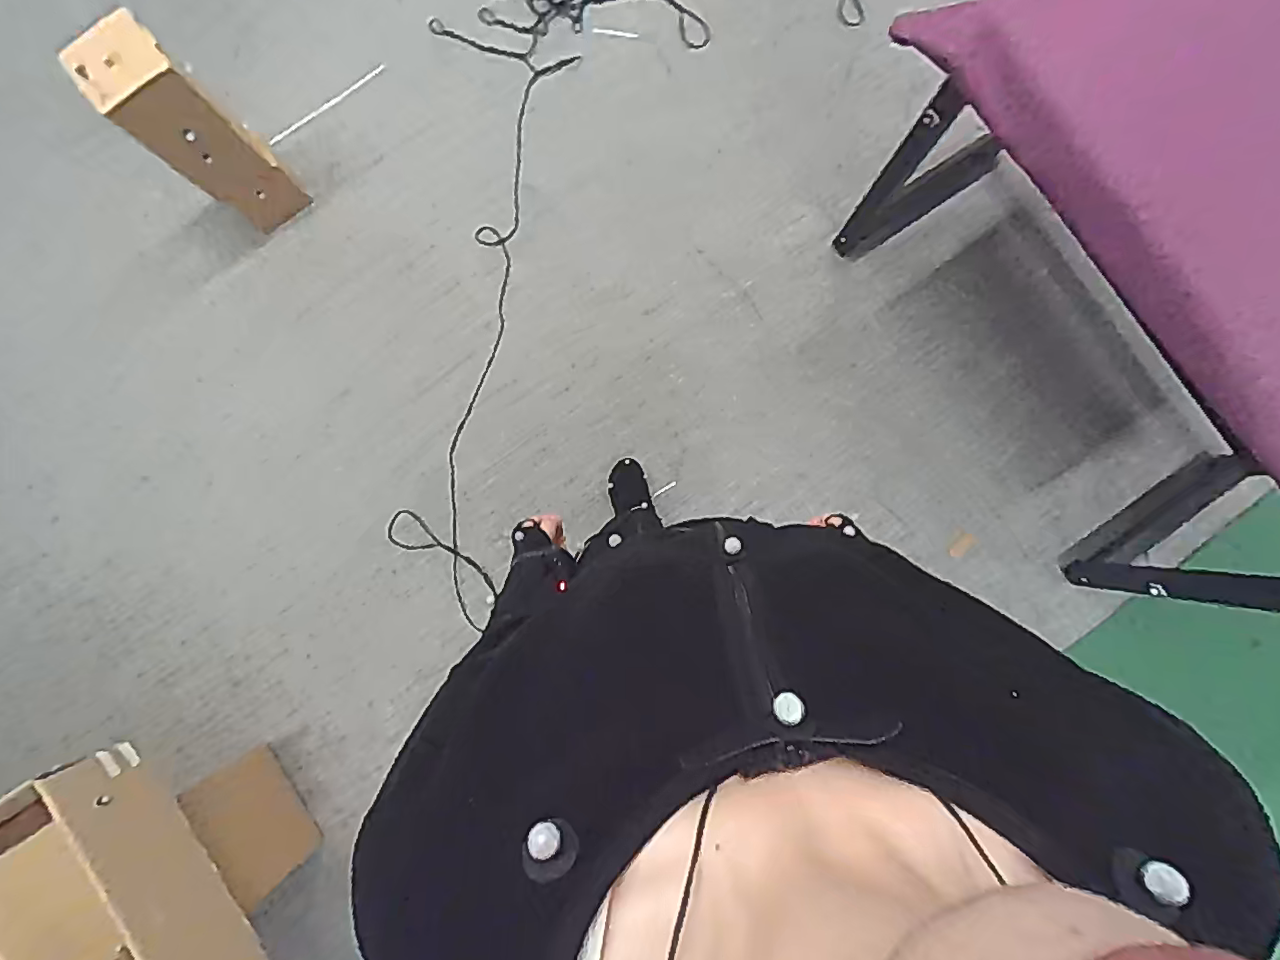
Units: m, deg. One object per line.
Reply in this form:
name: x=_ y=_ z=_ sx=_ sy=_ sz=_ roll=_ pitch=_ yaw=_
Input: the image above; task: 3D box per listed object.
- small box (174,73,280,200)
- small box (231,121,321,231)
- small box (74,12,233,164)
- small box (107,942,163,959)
small box: x=-1.065 y=-0.851 z=1.359 sx=0.179 sy=0.176 sz=0.168 roll=-36 pitch=87 yaw=-2
small box: x=-1.054 y=-0.844 z=1.523 sx=0.179 sy=0.176 sz=0.168 roll=-36 pitch=86 yaw=-2
small box: x=-1.055 y=-0.854 z=1.195 sx=0.179 sy=0.176 sz=0.168 roll=-38 pitch=86 yaw=-3
small box: x=-0.964 y=0.971 z=0.947 sx=0.168 sy=0.176 sz=0.179 roll=-32 pitch=85 yaw=-2
